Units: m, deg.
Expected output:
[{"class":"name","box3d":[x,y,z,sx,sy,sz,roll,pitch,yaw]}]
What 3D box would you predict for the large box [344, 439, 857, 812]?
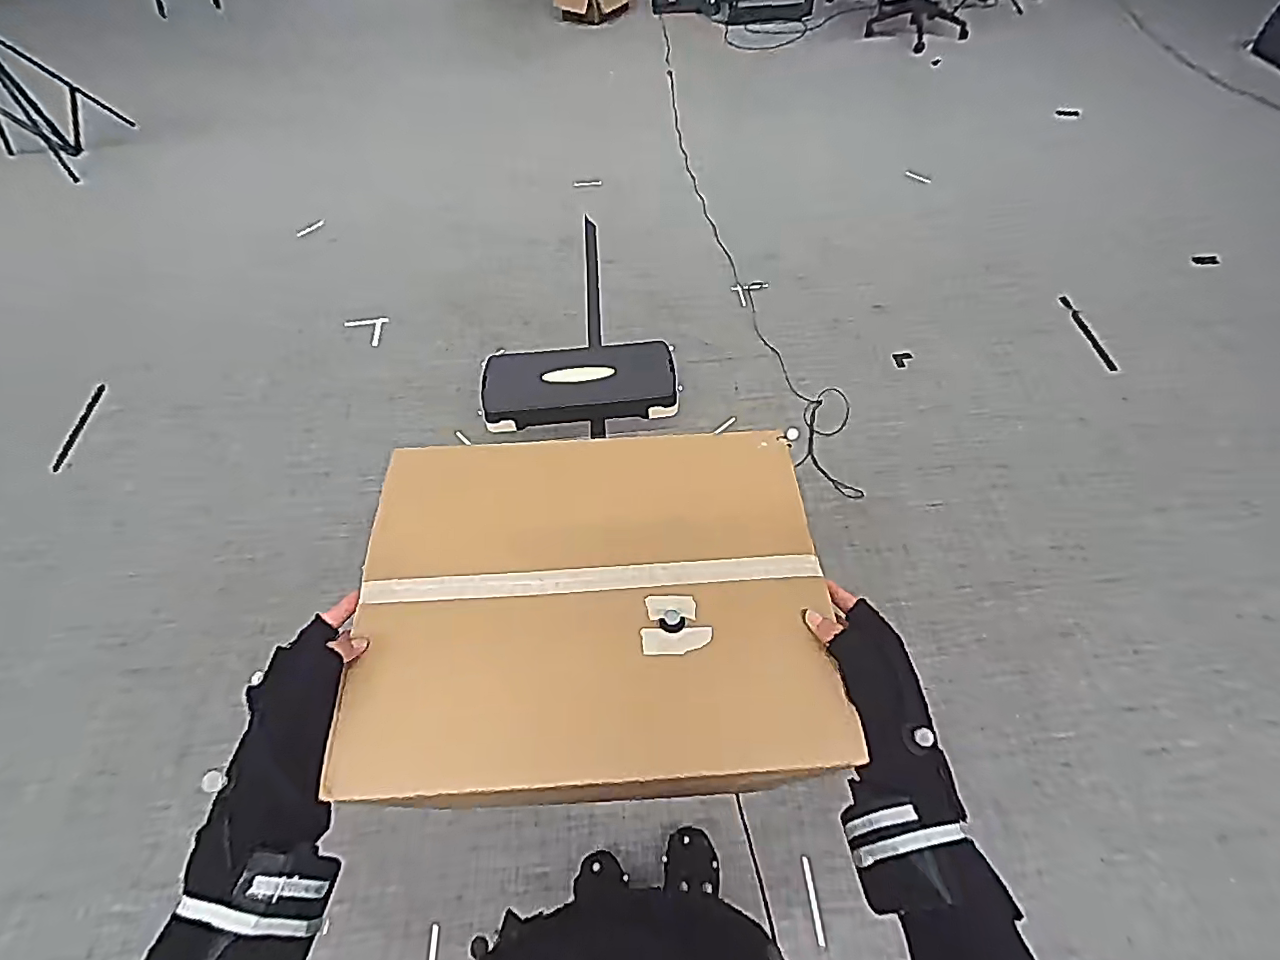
[{"class":"large box","box3d":[-0.038,0.176,0.616,0.408,0.320,0.320,-3,57,-2]}]
